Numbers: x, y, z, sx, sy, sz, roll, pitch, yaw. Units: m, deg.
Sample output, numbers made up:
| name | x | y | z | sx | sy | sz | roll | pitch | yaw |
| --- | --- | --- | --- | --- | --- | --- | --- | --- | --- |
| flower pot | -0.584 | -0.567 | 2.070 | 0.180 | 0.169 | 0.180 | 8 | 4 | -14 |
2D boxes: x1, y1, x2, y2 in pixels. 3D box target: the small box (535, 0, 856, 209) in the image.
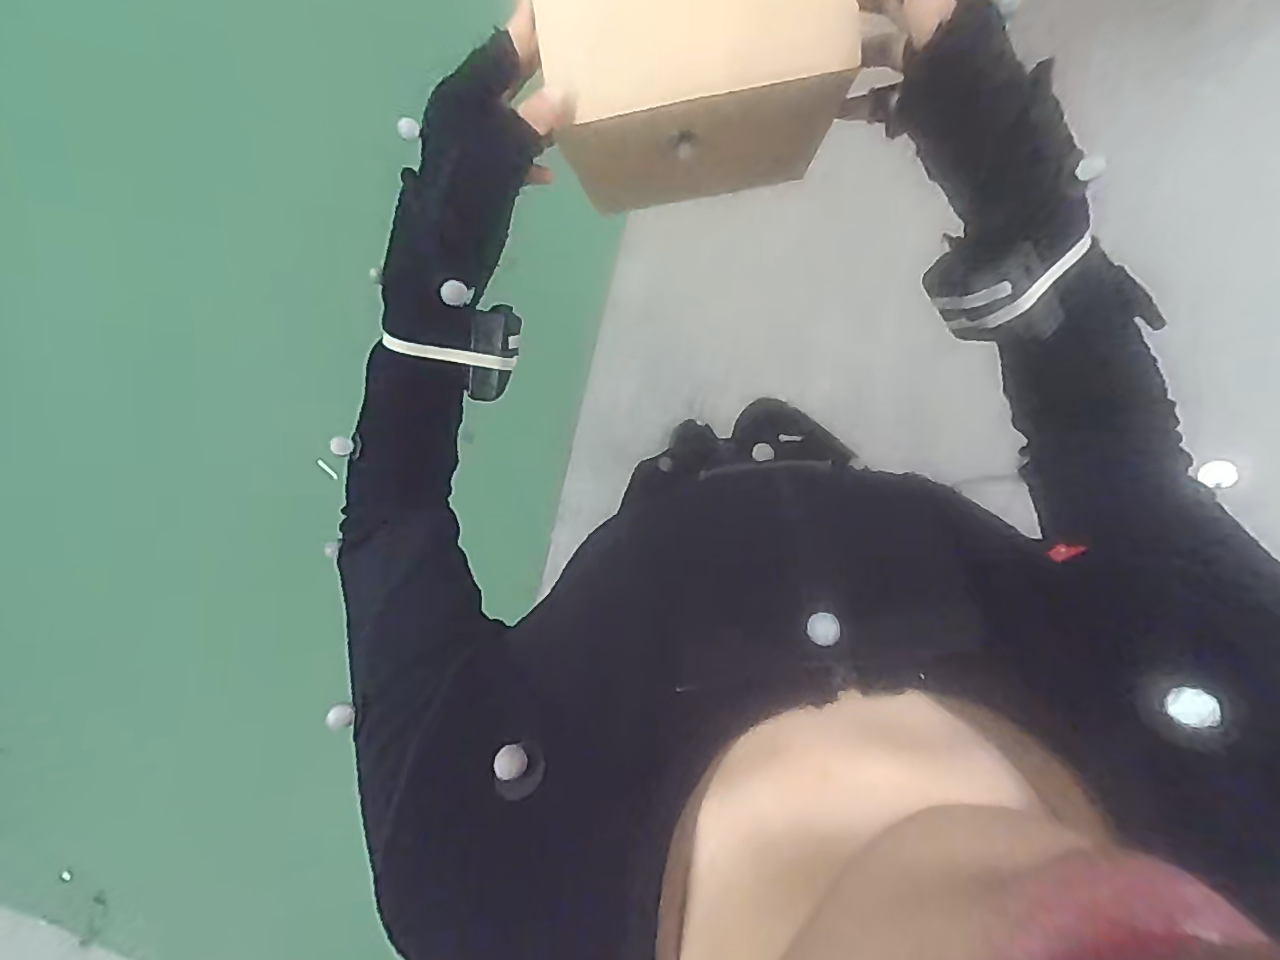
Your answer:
| name | x | y | z | sx | sy | sz | roll | pitch | yaw |
| --- | --- | --- | --- | --- | --- | --- | --- | --- | --- |
| small box | 0.033 | -0.305 | 0.371 | 0.179 | 0.176 | 0.168 | -6 | 100 | 7 |
